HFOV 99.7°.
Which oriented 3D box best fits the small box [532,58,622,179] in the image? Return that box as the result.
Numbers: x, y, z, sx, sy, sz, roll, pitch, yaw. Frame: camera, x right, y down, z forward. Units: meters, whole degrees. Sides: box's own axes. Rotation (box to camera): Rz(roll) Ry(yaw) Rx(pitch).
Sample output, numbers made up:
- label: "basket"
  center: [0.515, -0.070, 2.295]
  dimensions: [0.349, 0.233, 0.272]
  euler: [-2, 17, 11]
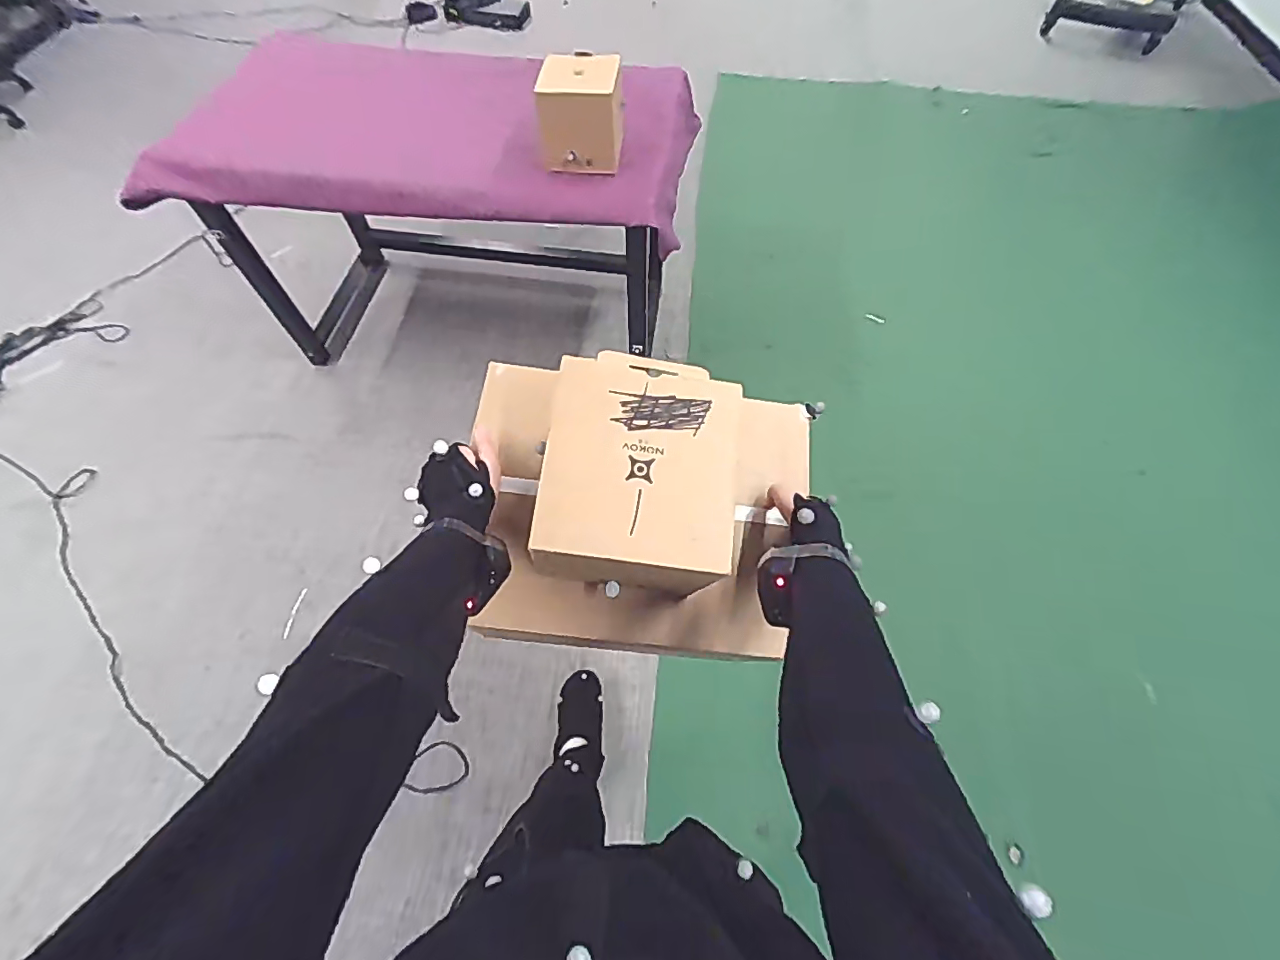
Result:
- label: "small box"
  center: [-0.132, -0.804, 1.206]
  dimensions: [0.168, 0.176, 0.179]
  euler: [3, 59, 3]

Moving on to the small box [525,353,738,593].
- label: "small box"
  center: [-0.010, 0.005, 0.528]
  dimensions: [0.168, 0.176, 0.179]
  euler: [8, 72, -4]
